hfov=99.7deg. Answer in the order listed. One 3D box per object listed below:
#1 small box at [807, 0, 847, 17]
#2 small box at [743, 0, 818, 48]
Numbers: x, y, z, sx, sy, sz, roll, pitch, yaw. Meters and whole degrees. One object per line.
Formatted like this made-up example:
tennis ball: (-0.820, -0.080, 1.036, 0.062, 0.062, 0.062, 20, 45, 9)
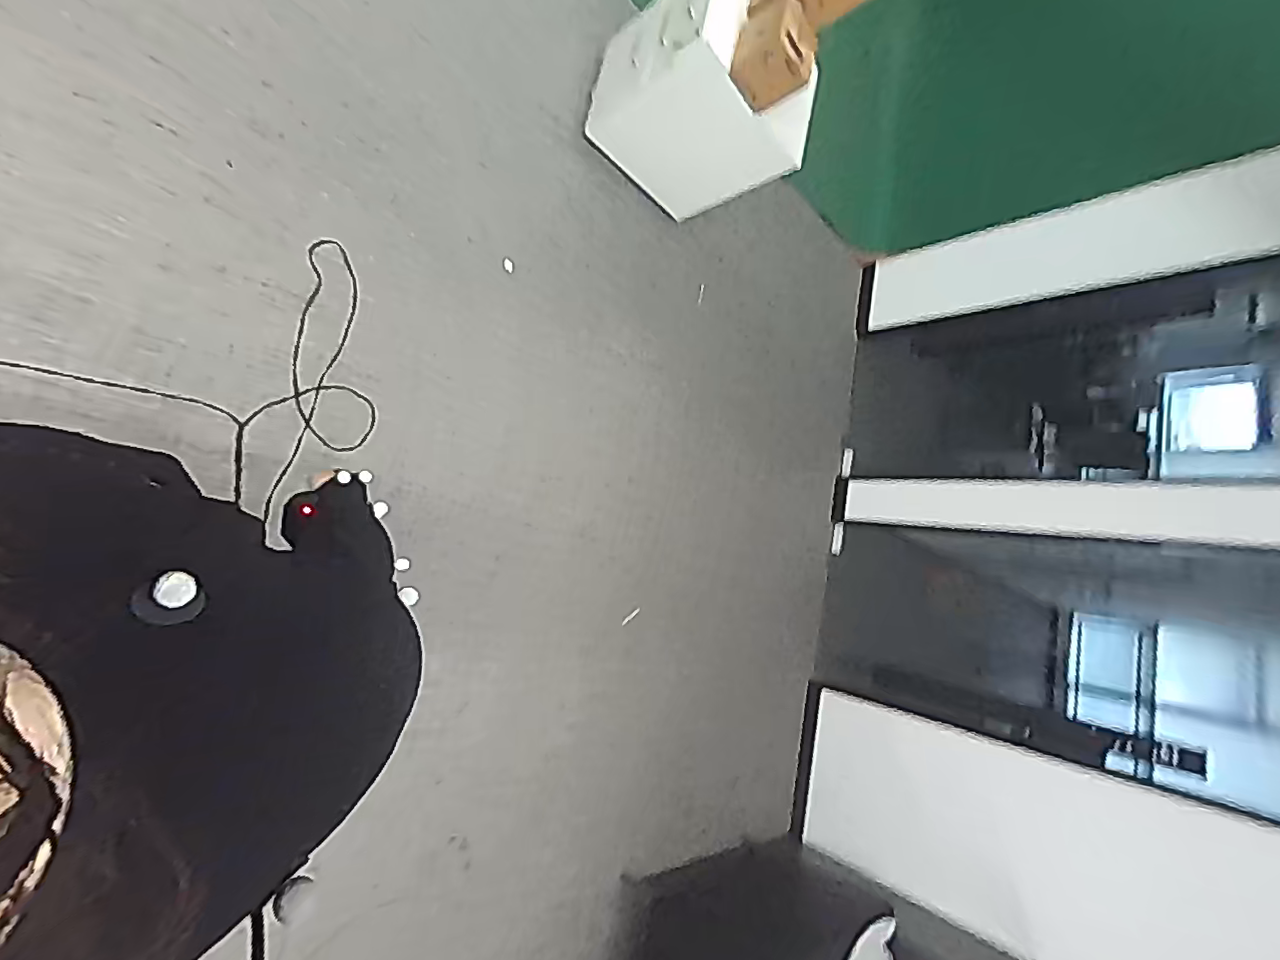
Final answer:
small box: (0.536, -1.440, 1.474, 0.168, 0.176, 0.179, 23, 77, -42)
small box: (0.422, -1.444, 1.590, 0.168, 0.176, 0.179, 21, 77, -42)
